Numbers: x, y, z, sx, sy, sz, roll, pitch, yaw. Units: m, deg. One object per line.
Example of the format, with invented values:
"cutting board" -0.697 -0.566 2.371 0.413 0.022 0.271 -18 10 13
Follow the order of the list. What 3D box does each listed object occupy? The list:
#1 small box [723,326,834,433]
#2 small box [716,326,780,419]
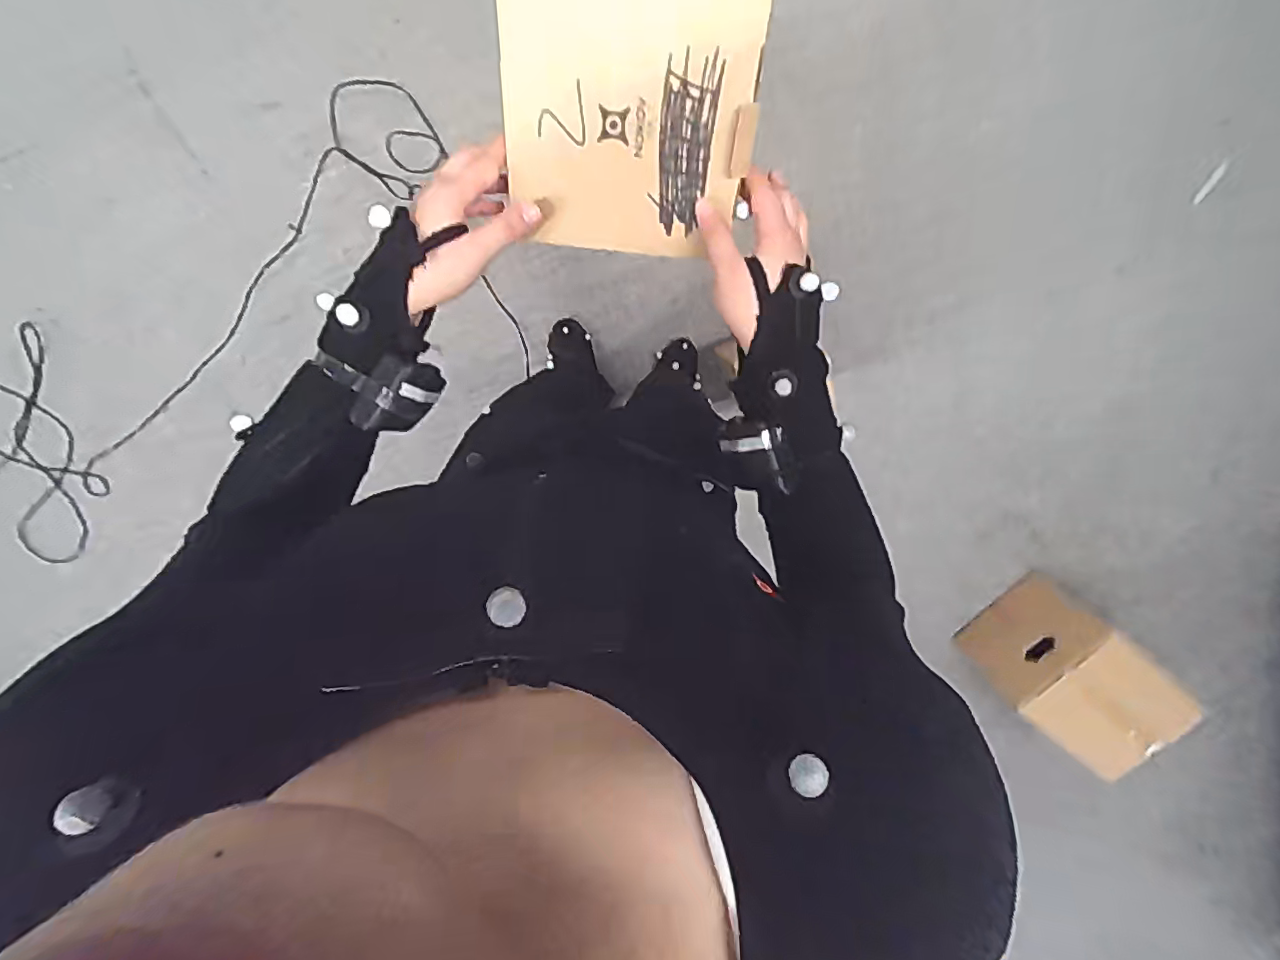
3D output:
"small box" 0.293 -0.225 1.185 0.179 0.176 0.168 -23 110 6
"small box" 0.294 -0.271 1.342 0.179 0.176 0.168 -20 109 6
